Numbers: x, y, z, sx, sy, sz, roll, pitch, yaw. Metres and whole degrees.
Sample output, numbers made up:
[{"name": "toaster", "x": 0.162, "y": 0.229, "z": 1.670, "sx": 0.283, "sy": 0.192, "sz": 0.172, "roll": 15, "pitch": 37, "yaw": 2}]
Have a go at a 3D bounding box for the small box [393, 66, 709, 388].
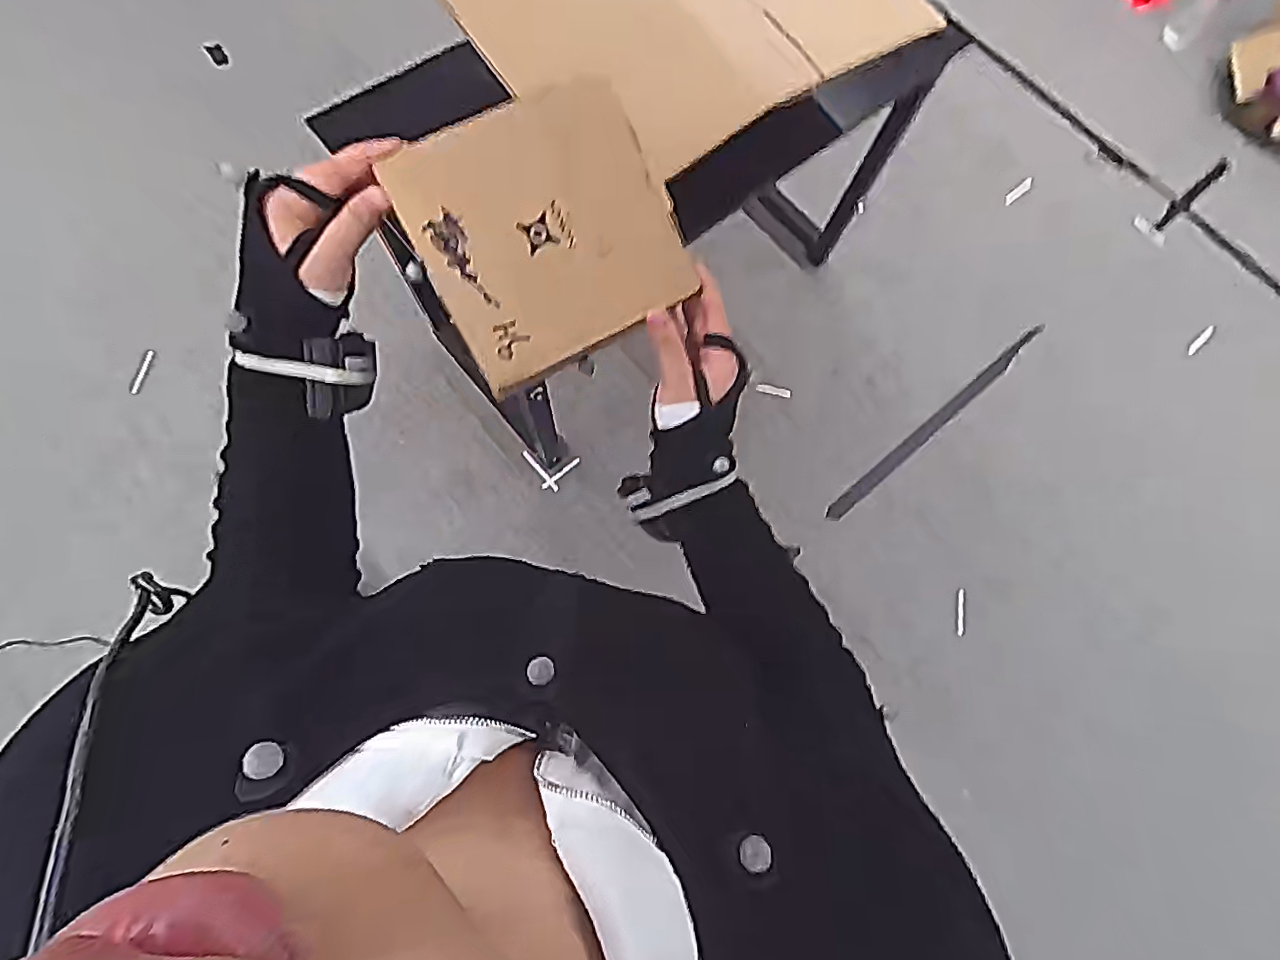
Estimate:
[{"name": "small box", "x": -0.074, "y": -0.190, "z": 0.459, "sx": 0.179, "sy": 0.176, "sz": 0.168, "roll": -29, "pitch": 101, "yaw": -10}]
